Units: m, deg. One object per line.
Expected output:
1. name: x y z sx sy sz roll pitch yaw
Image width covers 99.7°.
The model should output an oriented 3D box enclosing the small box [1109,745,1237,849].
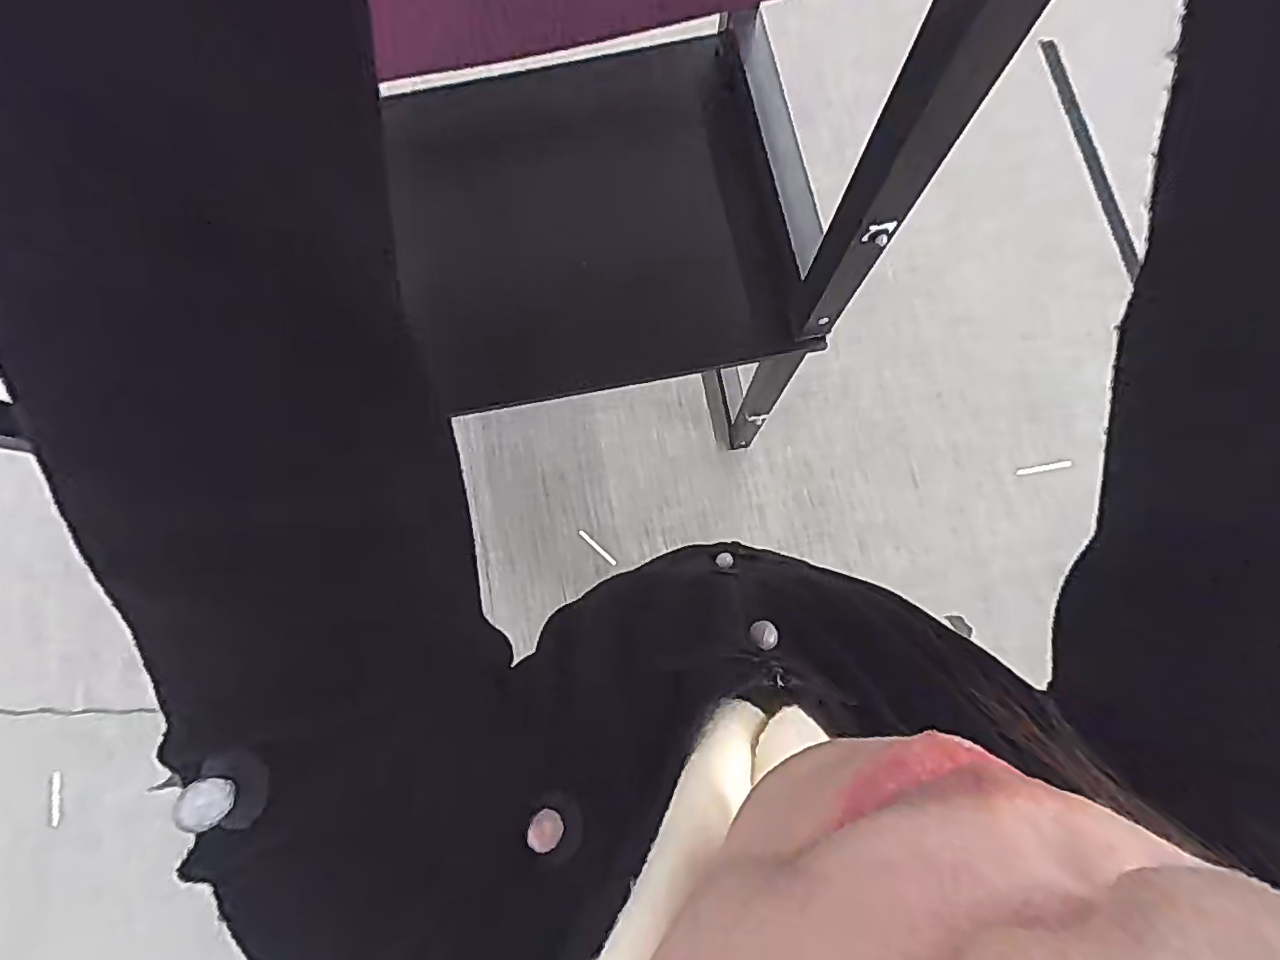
1. small box: 1.274 0.750 1.292 0.179 0.176 0.168 -5 81 1
